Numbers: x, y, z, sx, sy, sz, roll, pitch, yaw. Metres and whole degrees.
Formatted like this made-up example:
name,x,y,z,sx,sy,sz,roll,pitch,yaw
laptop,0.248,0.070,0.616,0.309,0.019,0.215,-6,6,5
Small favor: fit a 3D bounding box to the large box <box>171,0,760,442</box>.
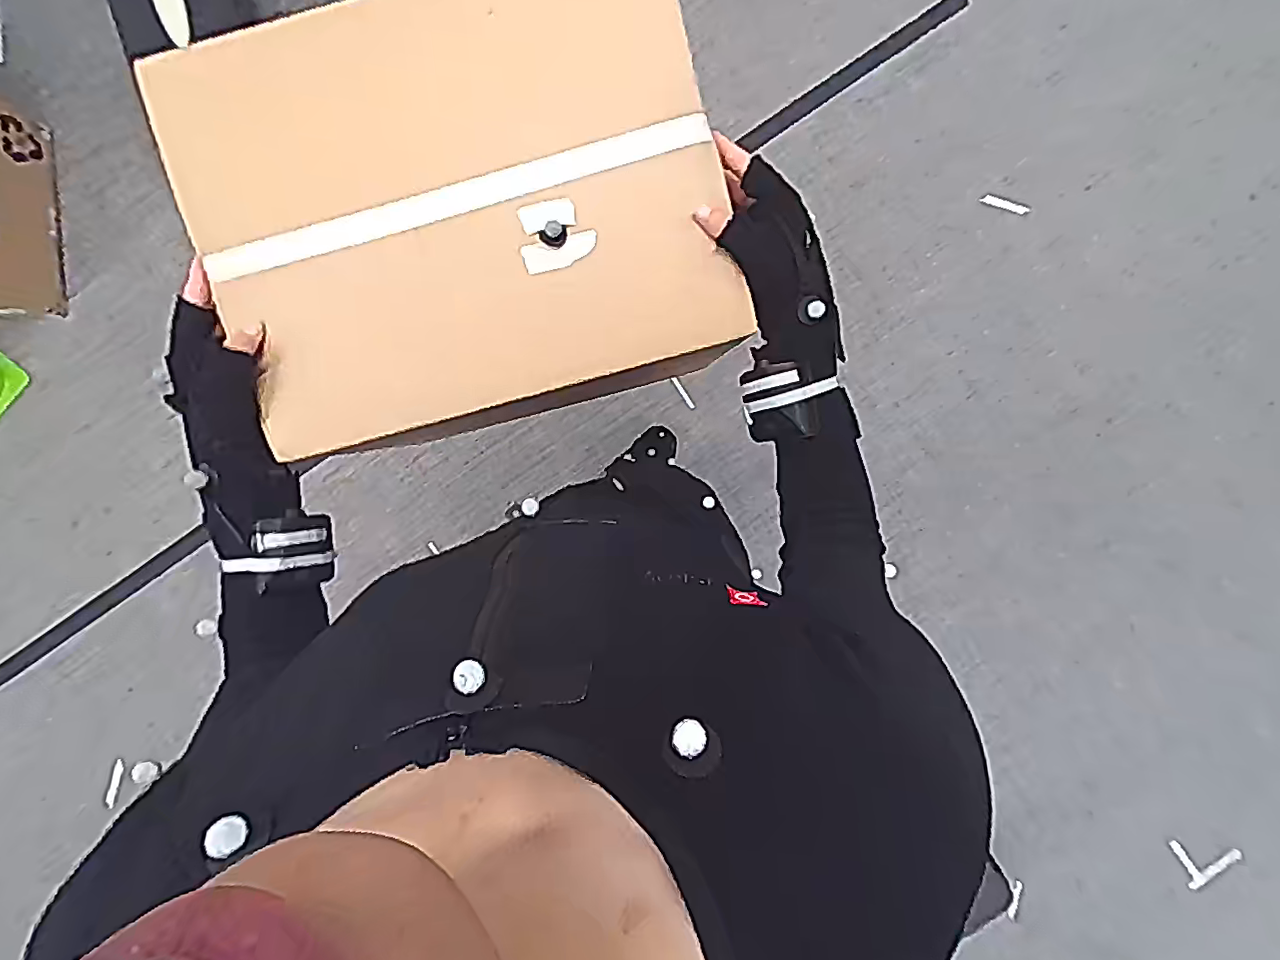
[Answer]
name,x,y,z,sx,sy,sz,roll,pitch,yaw
large box,-0.134,-0.244,0.572,0.408,0.320,0.320,-15,98,0
